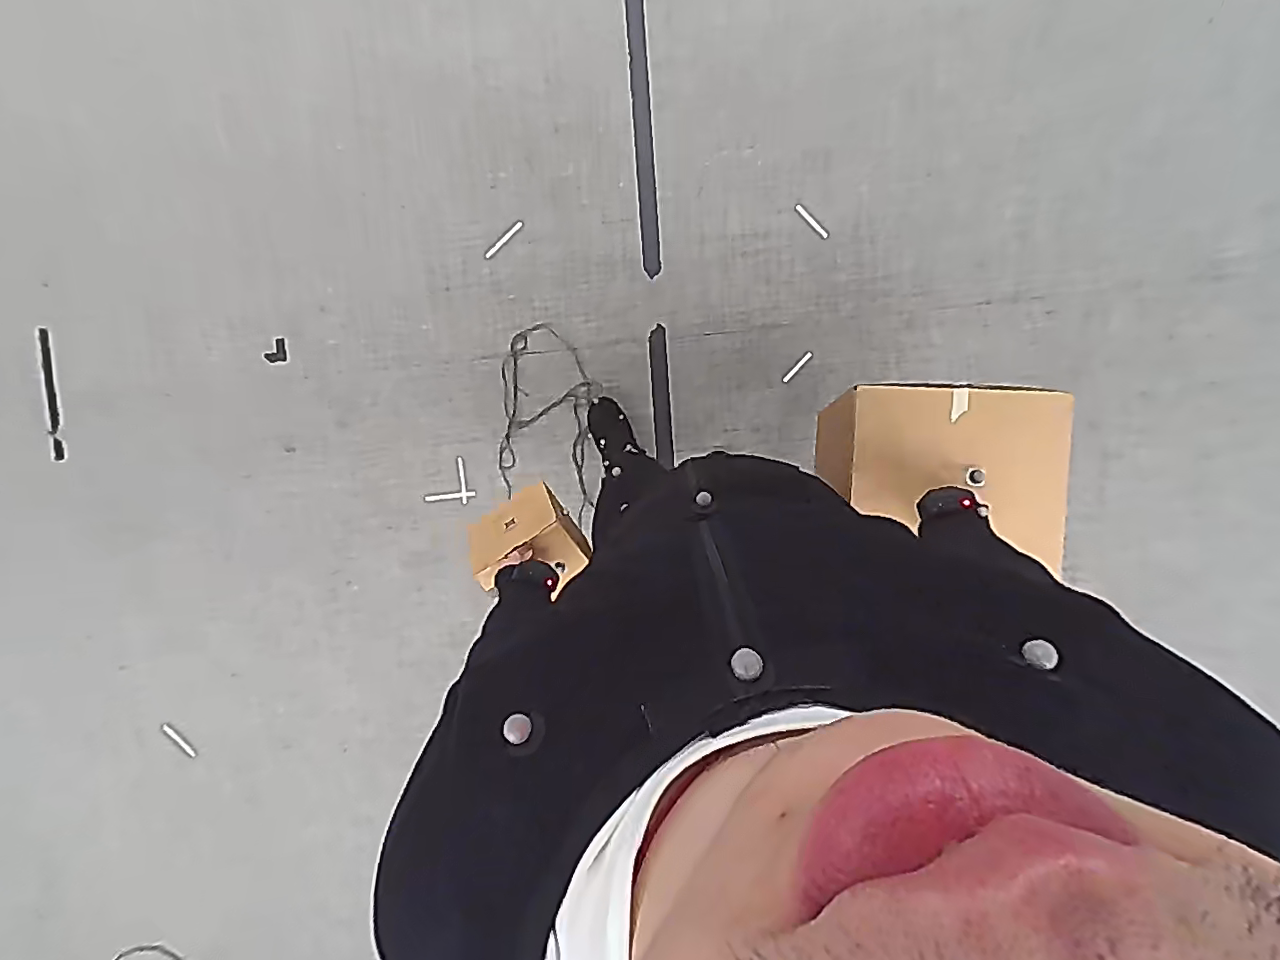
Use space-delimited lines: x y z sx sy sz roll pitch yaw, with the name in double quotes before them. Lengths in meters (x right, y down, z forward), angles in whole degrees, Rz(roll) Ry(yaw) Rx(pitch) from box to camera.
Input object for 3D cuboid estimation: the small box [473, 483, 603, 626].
"small box" -0.187 0.141 0.992 0.168 0.179 0.176 -33 118 -2
